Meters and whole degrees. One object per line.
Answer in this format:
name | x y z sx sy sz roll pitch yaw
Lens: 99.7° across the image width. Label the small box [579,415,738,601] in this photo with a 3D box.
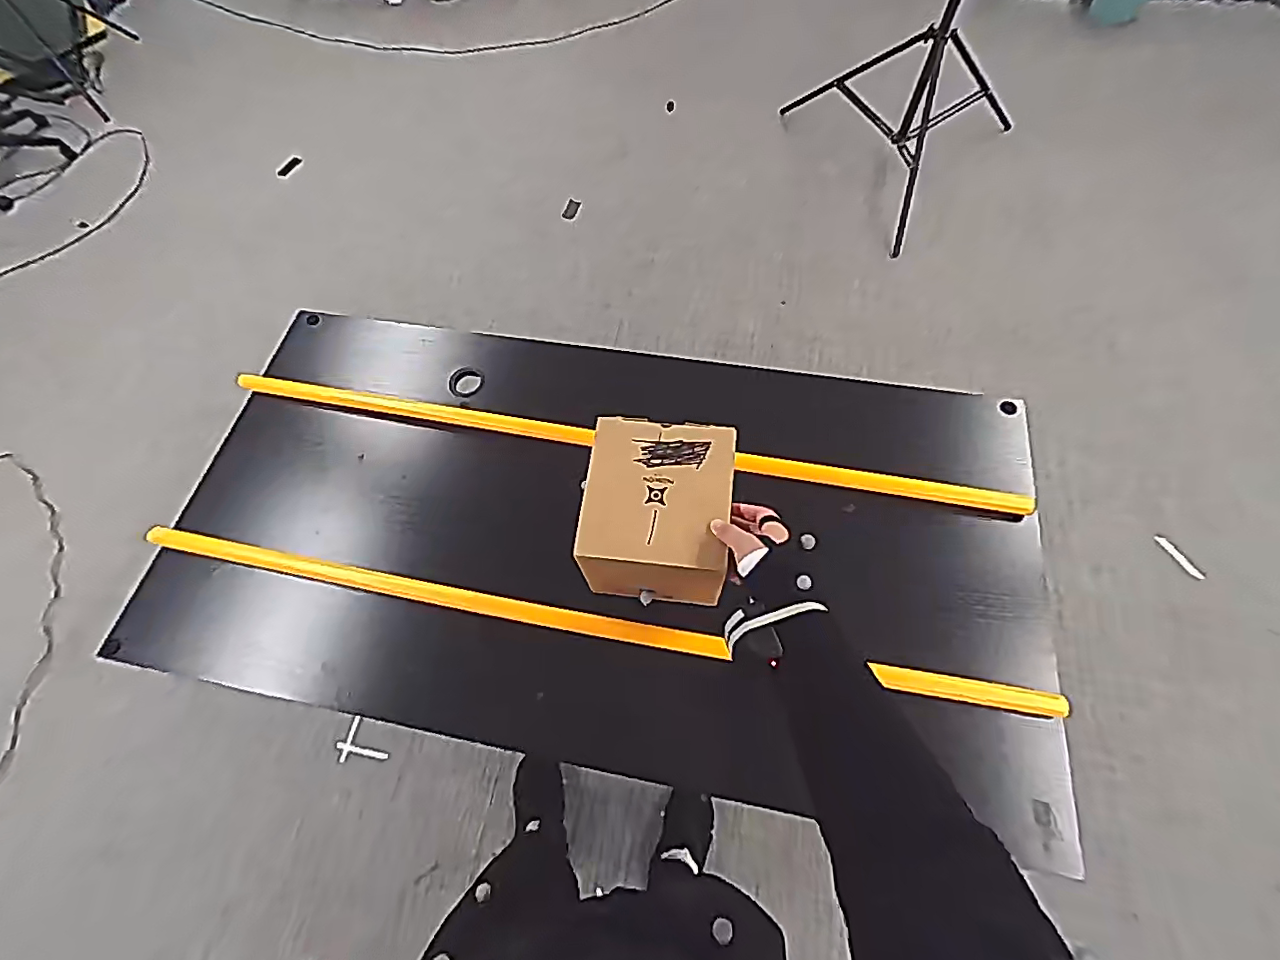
small box | 0.028 0.041 0.683 0.168 0.176 0.179 5 66 6
